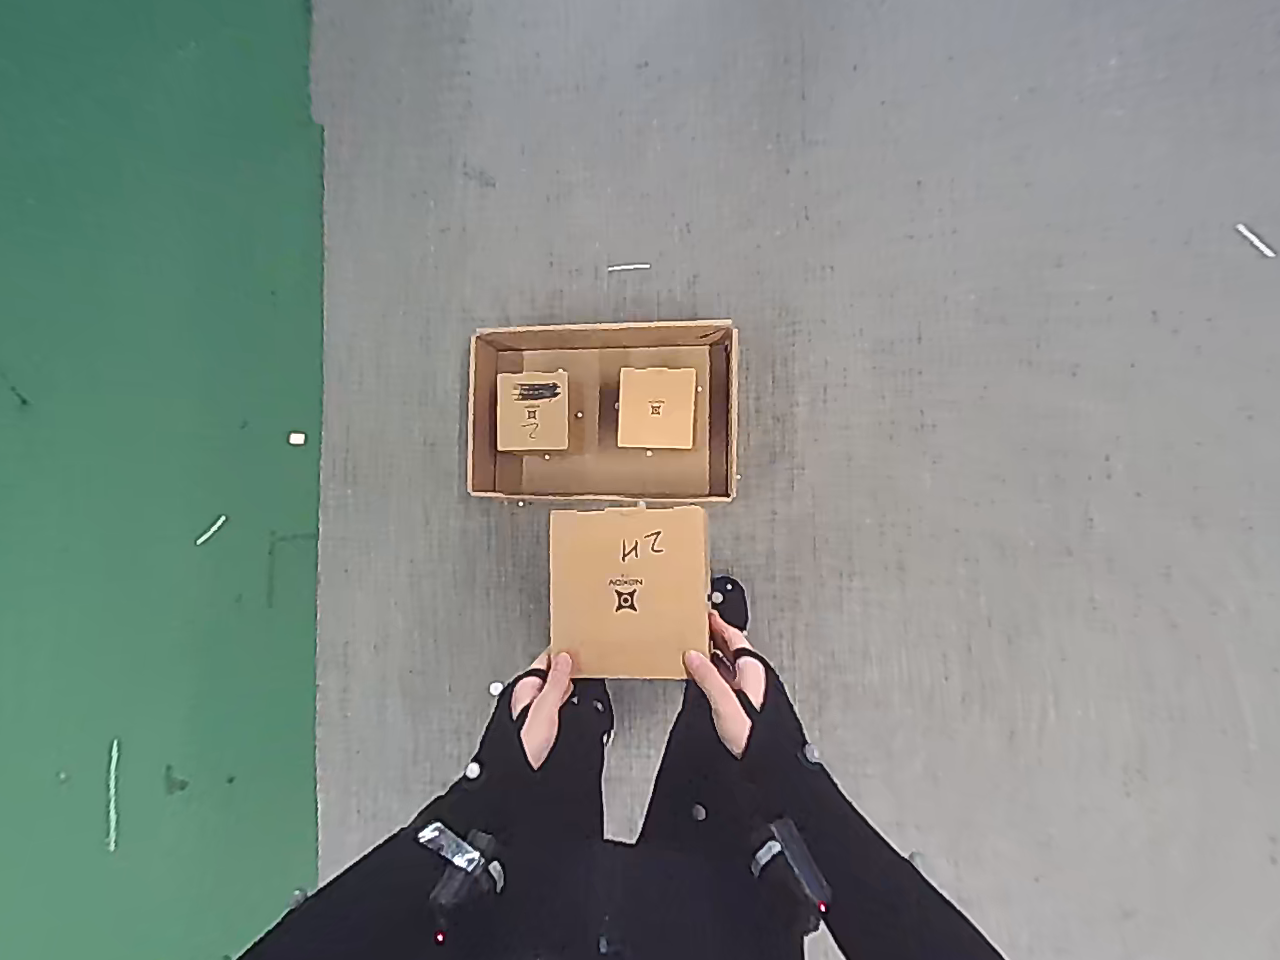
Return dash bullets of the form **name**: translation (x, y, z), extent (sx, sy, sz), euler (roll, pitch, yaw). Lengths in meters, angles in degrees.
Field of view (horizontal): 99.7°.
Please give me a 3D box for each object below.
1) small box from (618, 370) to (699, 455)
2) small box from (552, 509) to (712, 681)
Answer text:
- **small box**: translation (0.049, -0.149, 1.249), extent (0.168, 0.176, 0.179), euler (2, 88, 9)
- **small box**: translation (-0.001, 0.127, 0.643), extent (0.168, 0.176, 0.179), euler (-2, 82, 8)
